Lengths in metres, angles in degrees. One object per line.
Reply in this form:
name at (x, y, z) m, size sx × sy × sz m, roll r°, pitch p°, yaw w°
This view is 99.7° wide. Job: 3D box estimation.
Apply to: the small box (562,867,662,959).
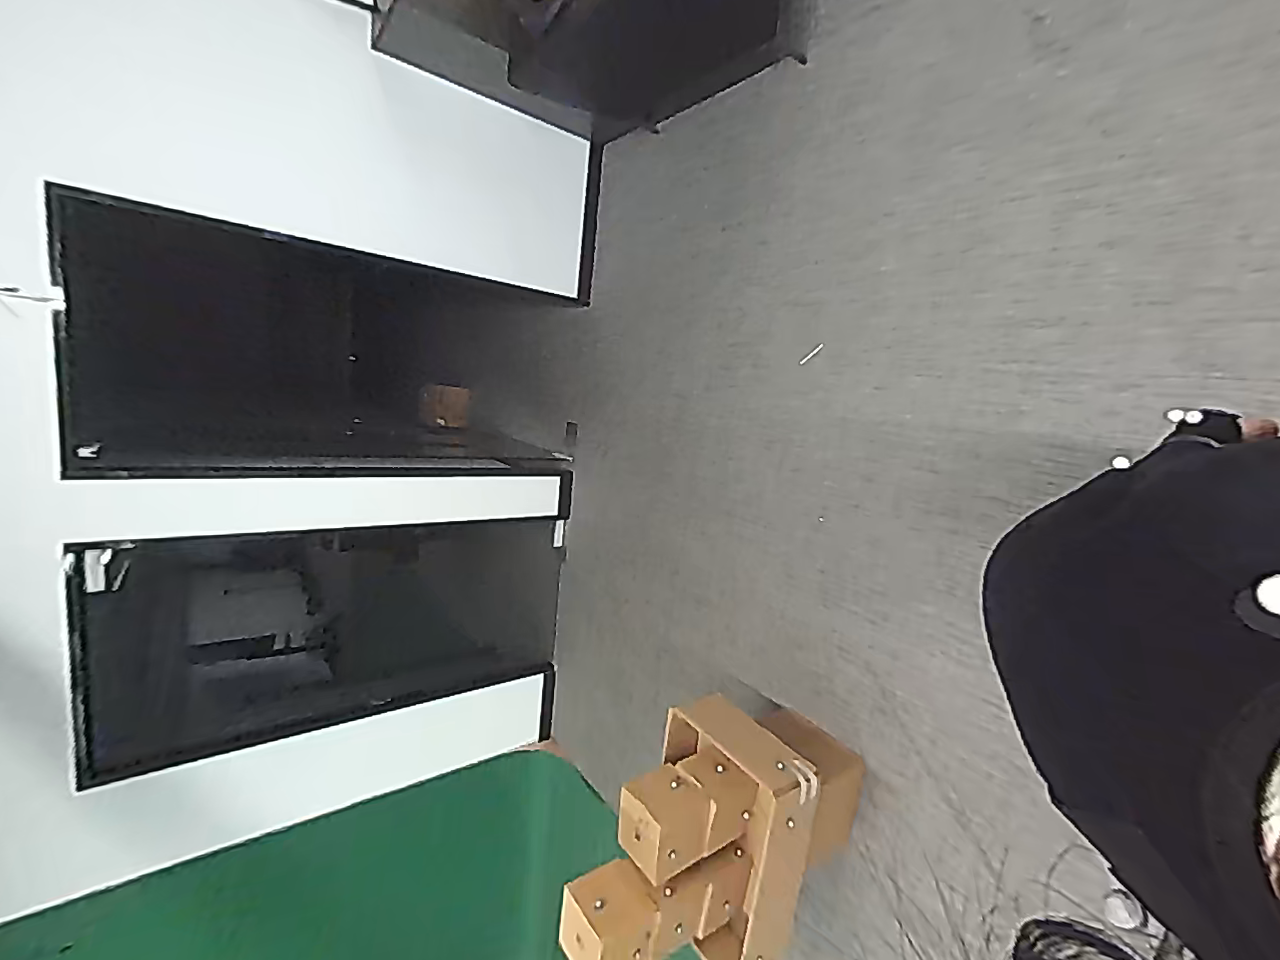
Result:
small box at (-0.071, 1.106, 1.338) m, size 0.179 × 0.176 × 0.168 m, roll 17°, pitch 103°, yaw 52°
